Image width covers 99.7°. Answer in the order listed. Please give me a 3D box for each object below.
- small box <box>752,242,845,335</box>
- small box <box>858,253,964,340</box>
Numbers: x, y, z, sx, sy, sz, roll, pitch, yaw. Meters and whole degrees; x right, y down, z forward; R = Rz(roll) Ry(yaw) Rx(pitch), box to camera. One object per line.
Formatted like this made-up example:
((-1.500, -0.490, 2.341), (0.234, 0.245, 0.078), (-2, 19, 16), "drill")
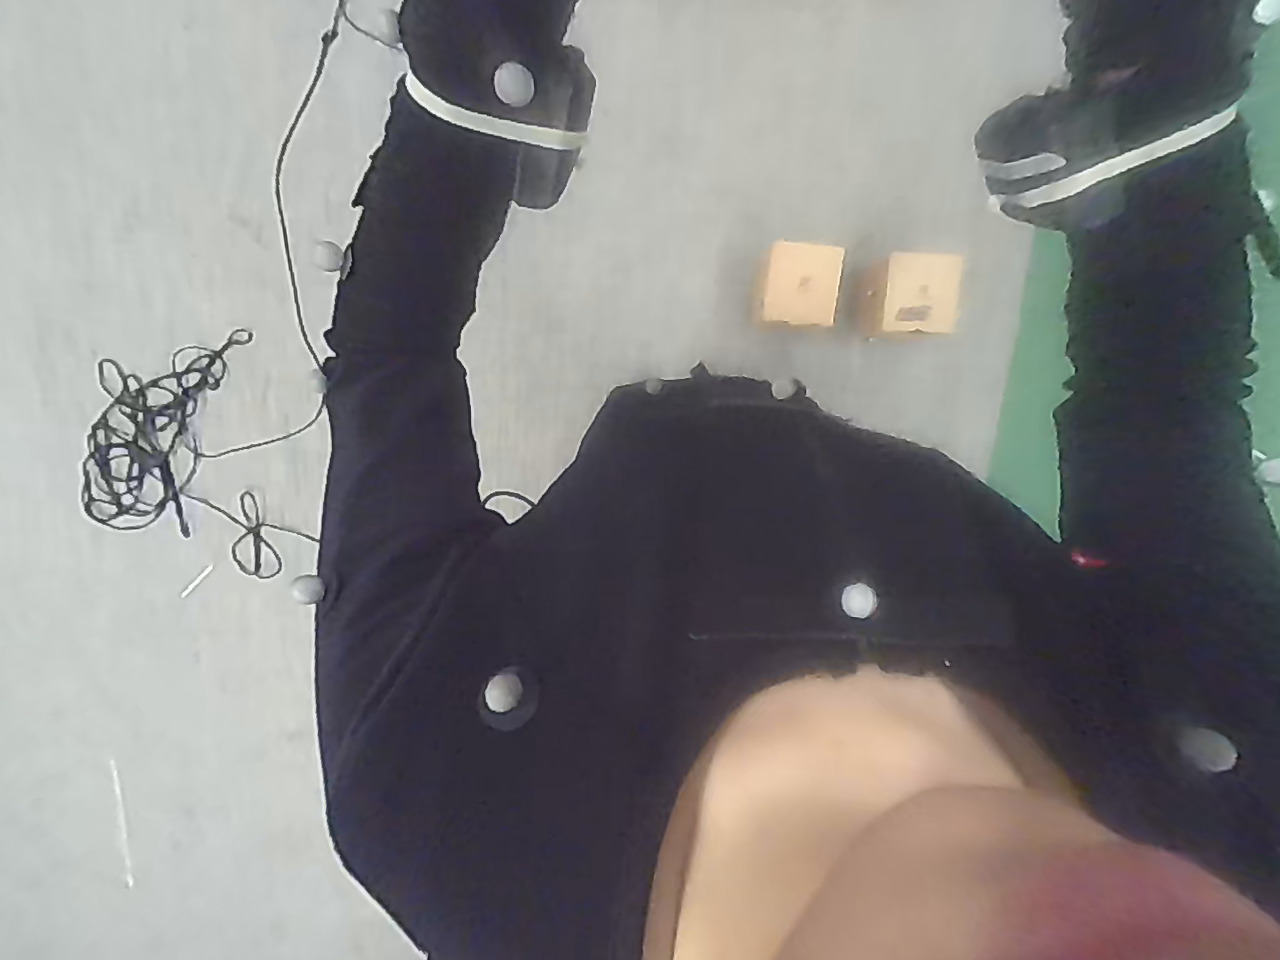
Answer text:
((0.374, -0.455, 1.304), (0.168, 0.176, 0.179), (6, 101, 0), "small box")
((0.642, -0.434, 1.301), (0.168, 0.176, 0.179), (2, 100, 1), "small box")
